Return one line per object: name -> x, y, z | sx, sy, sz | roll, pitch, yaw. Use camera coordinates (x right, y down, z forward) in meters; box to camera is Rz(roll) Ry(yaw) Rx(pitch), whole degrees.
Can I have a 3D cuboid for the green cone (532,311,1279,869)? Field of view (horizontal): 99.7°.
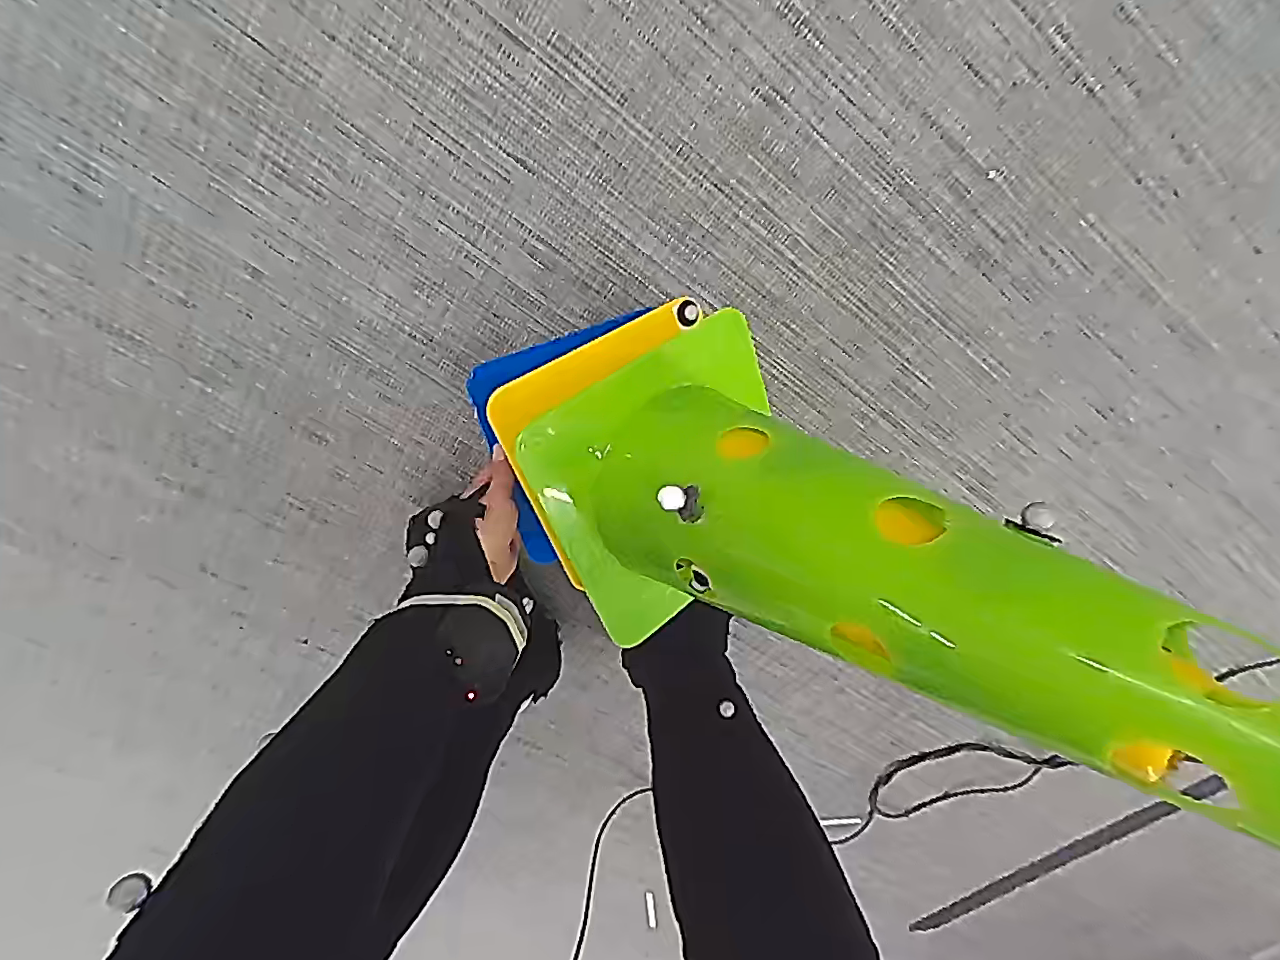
green cone -> 0.131, 0.049, 0.259 | 0.202, 0.368, 0.200 | -35, 121, -20
